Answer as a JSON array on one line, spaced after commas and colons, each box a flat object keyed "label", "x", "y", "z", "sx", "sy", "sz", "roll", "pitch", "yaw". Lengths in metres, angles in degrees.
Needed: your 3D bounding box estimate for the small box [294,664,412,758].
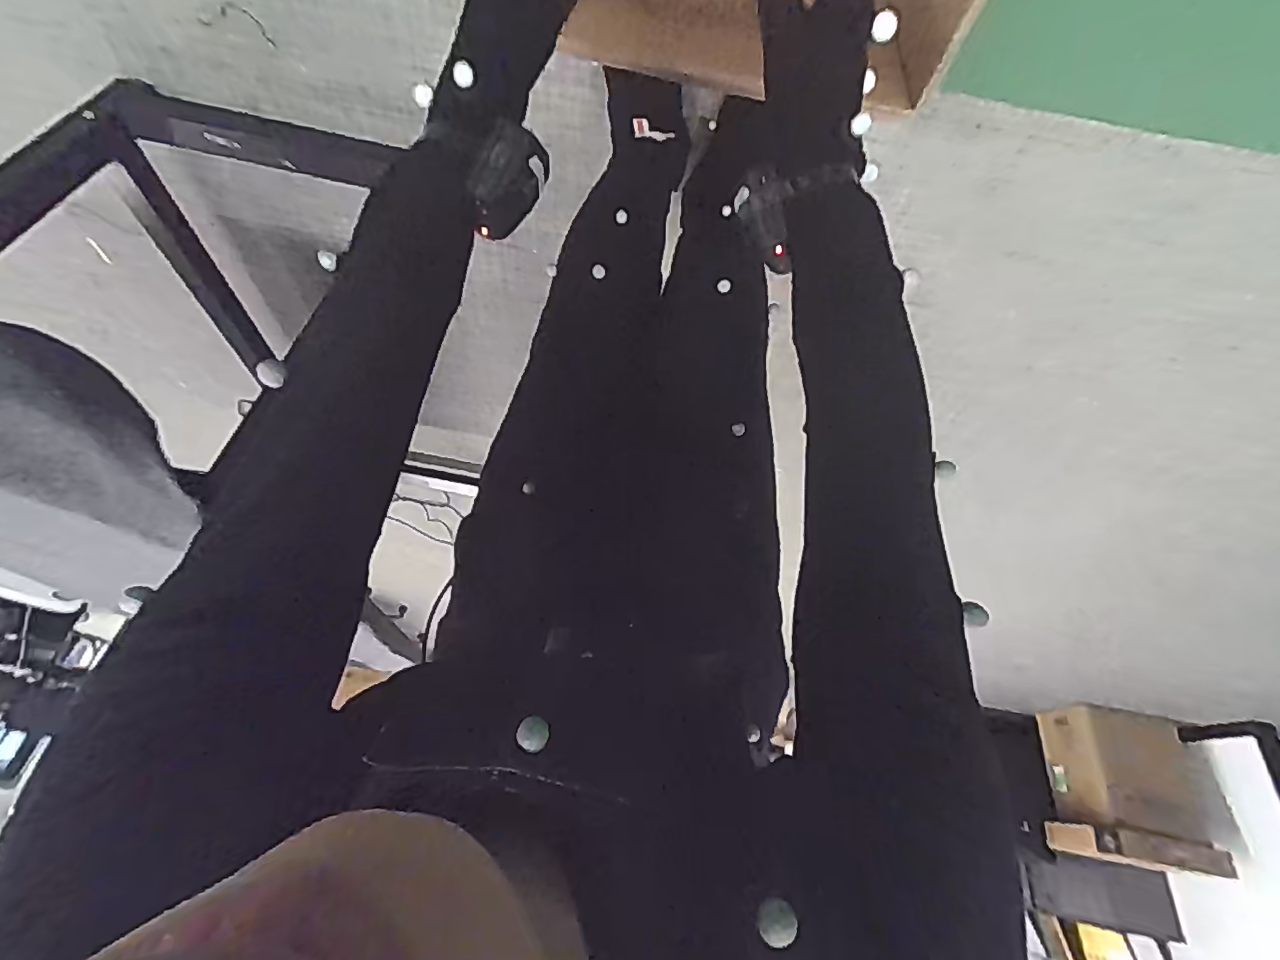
[{"label": "small box", "x": -0.672, "y": 0.551, "z": 1.290, "sx": 0.168, "sy": 0.176, "sz": 0.179, "roll": 12, "pitch": 149, "yaw": 0}]
